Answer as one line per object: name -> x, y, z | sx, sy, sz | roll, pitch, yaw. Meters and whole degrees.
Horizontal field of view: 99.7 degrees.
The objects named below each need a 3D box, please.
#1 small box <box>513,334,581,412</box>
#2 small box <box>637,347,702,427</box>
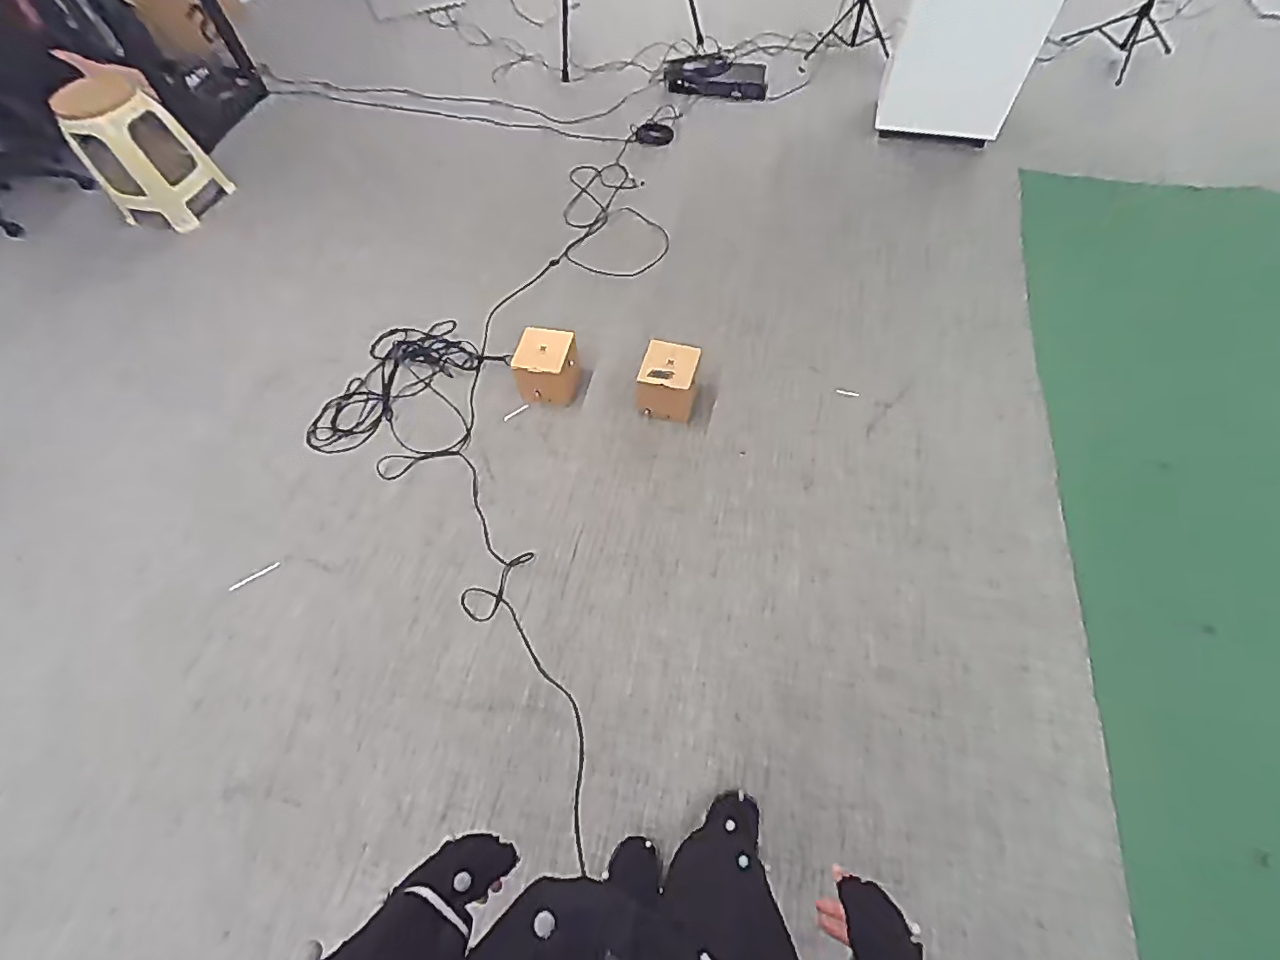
small box -> -0.298, -0.351, 1.786 | 0.168, 0.176, 0.179 | 9, 61, 9
small box -> 0.097, -0.293, 1.728 | 0.168, 0.176, 0.179 | 13, 61, 11
